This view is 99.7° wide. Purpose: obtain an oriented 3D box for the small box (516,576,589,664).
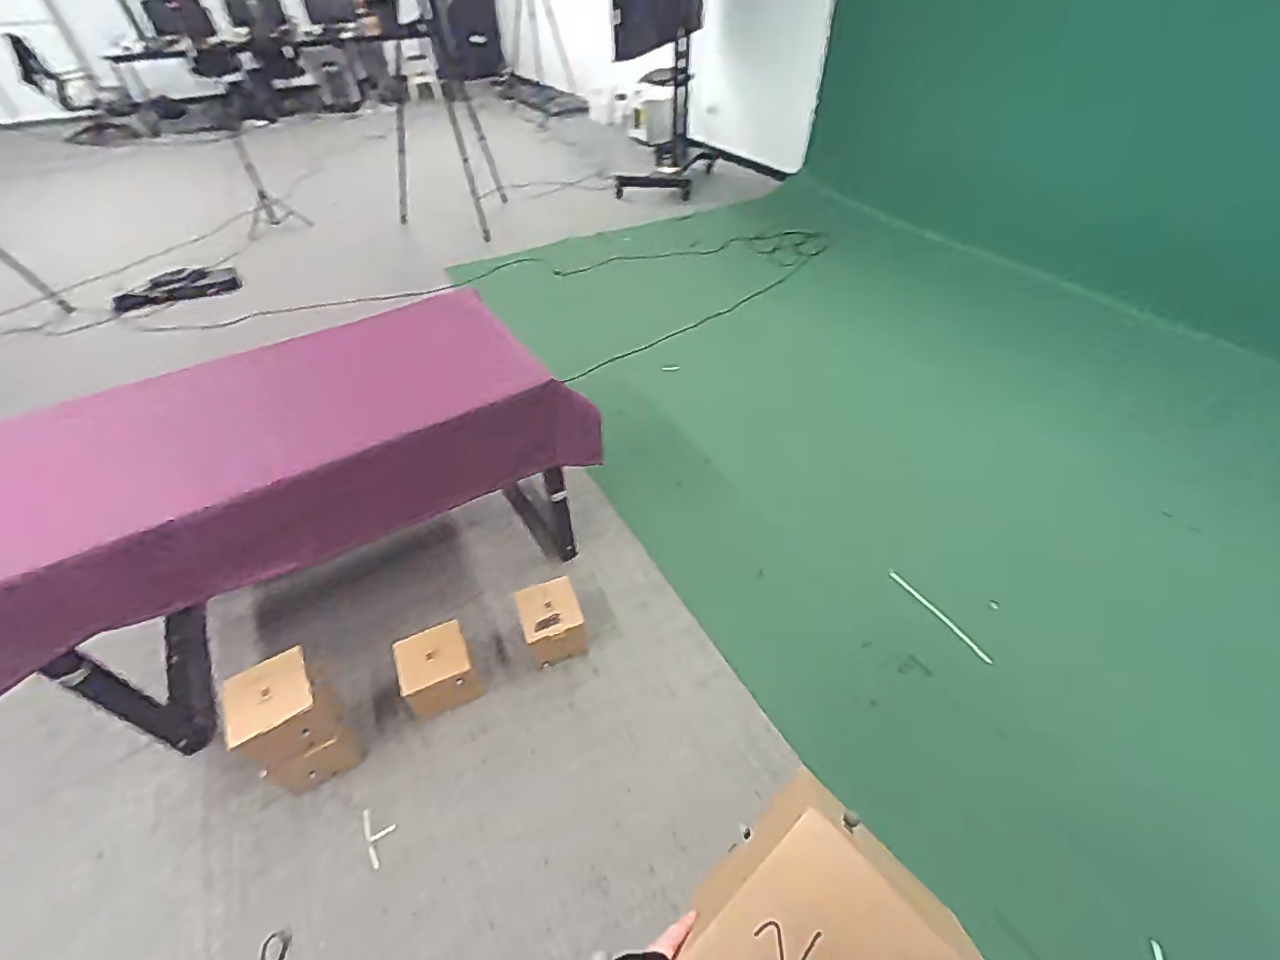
[{"bbox_3d":[-0.255,0.421,1.597,0.168,0.176,0.179,-16,46,-14],"label":"small box"}]
